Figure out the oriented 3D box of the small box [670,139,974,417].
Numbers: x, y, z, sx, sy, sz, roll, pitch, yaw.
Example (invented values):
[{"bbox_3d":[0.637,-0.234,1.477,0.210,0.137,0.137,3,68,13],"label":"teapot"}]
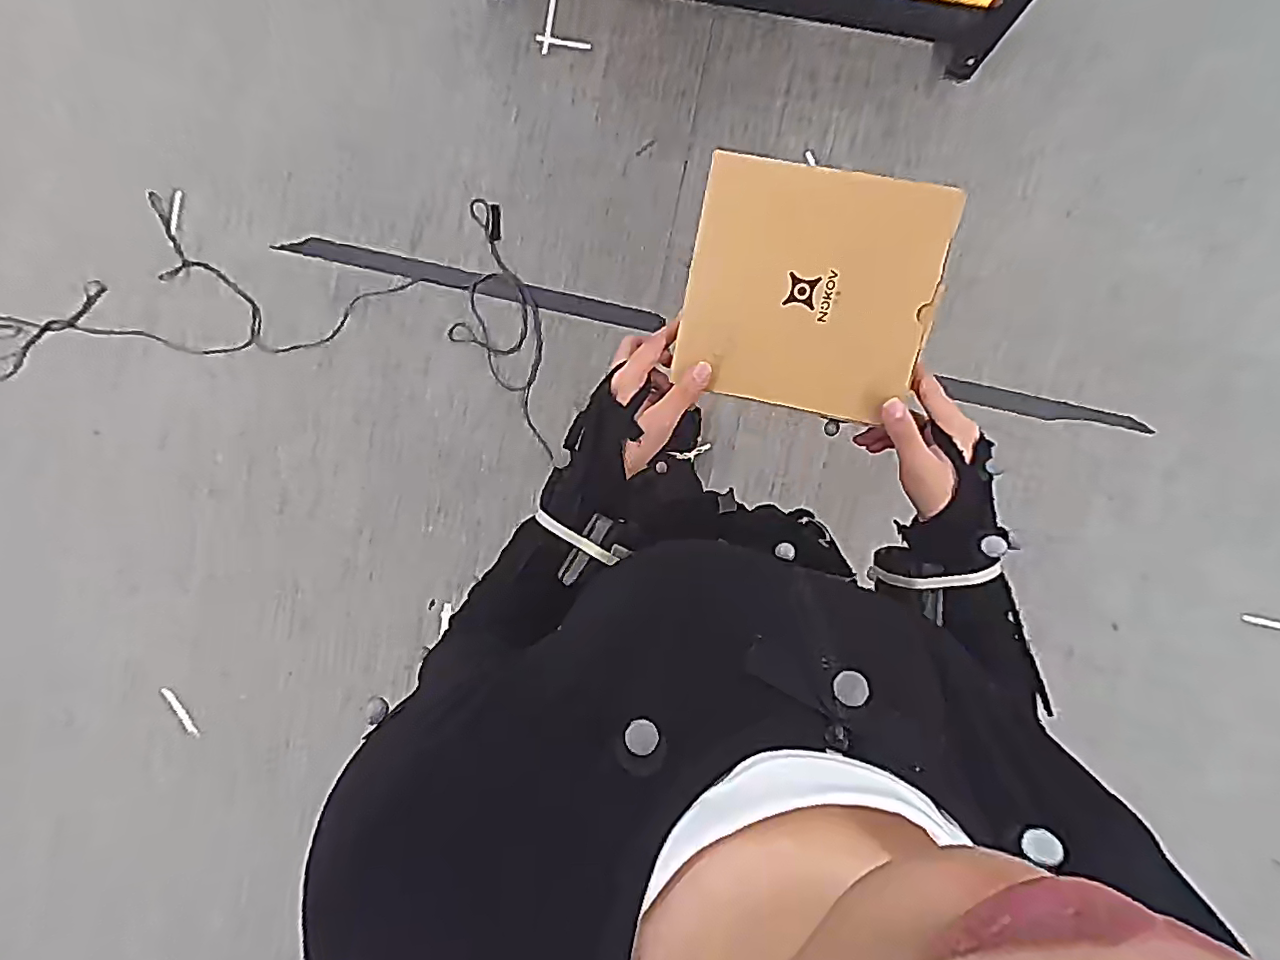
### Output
[{"bbox_3d":[0.132,-0.155,0.459,0.179,0.176,0.168,13,102,5],"label":"small box"}]
